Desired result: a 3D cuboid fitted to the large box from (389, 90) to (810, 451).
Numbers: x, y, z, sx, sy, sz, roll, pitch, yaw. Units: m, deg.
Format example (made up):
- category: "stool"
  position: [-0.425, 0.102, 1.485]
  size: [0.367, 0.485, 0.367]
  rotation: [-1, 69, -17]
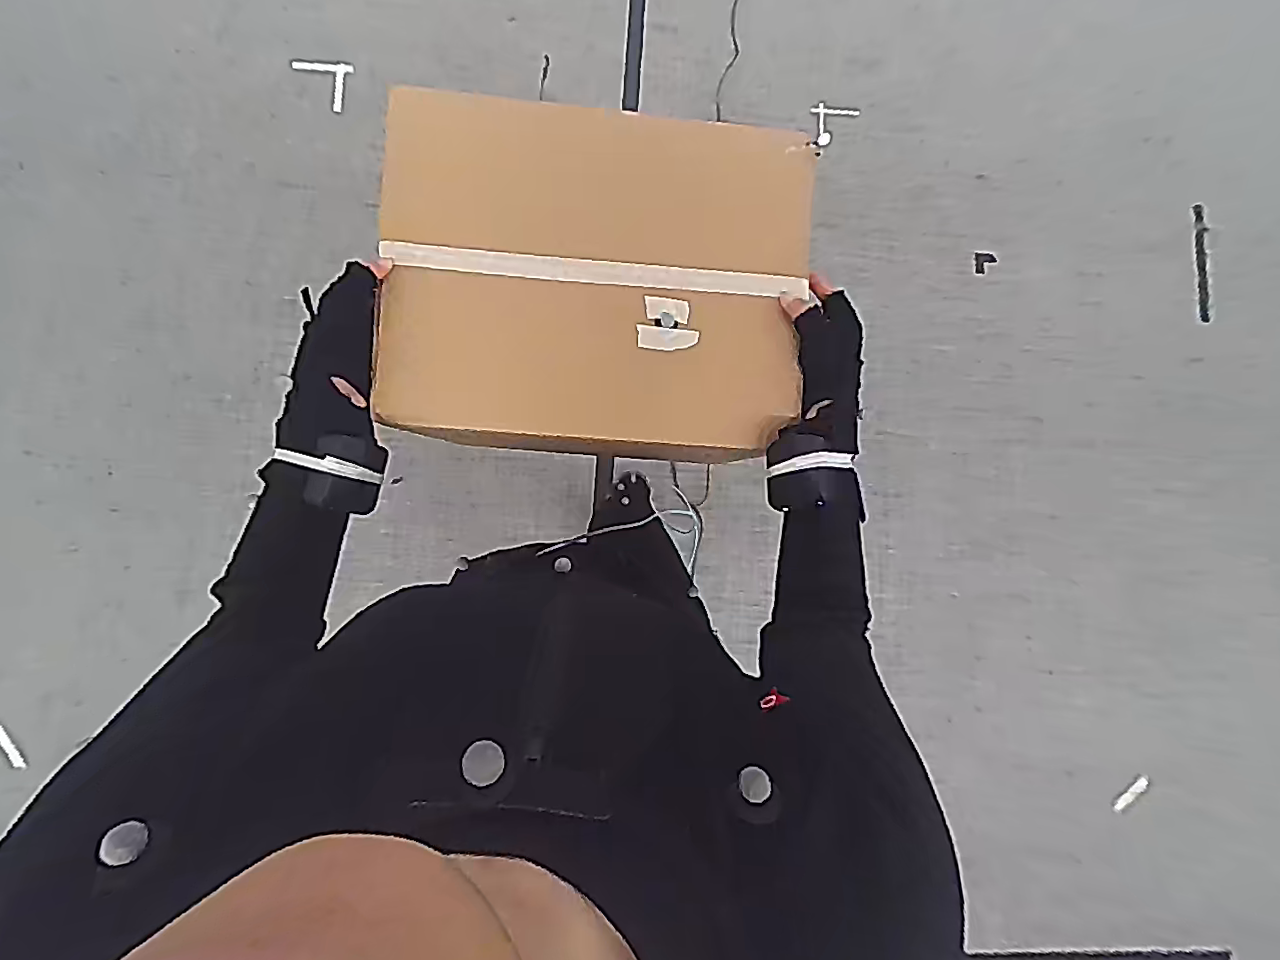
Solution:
- category: "large box"
  position: [-0.048, -0.208, 0.676]
  size: [0.408, 0.320, 0.320]
  rotation: [4, 91, -5]
